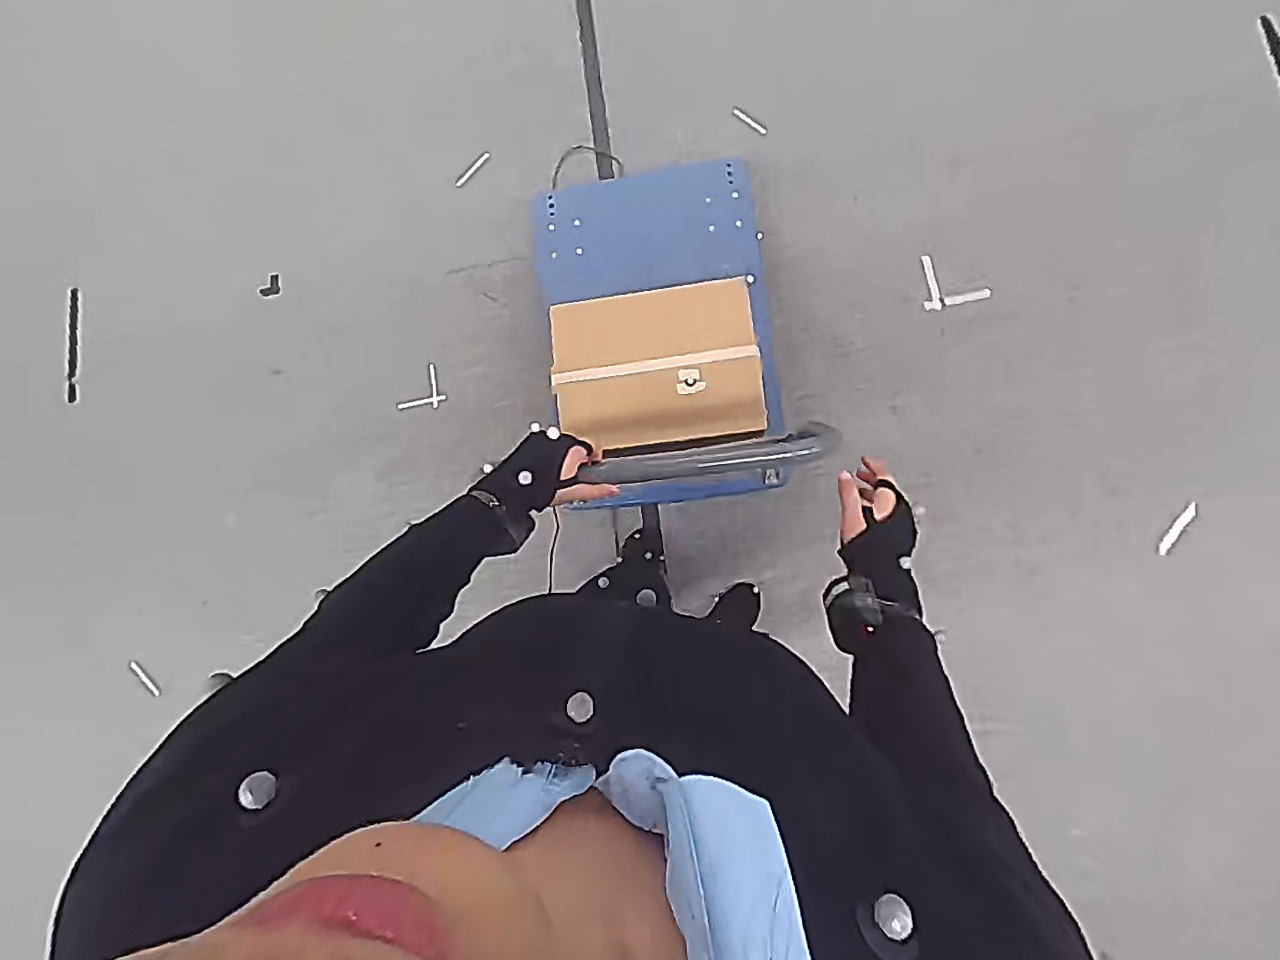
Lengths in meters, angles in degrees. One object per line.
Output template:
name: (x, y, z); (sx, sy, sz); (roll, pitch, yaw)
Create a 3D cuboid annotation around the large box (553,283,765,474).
large box: (0.044, -0.204, 1.226); (0.408, 0.320, 0.320); (-6, 84, 5)
